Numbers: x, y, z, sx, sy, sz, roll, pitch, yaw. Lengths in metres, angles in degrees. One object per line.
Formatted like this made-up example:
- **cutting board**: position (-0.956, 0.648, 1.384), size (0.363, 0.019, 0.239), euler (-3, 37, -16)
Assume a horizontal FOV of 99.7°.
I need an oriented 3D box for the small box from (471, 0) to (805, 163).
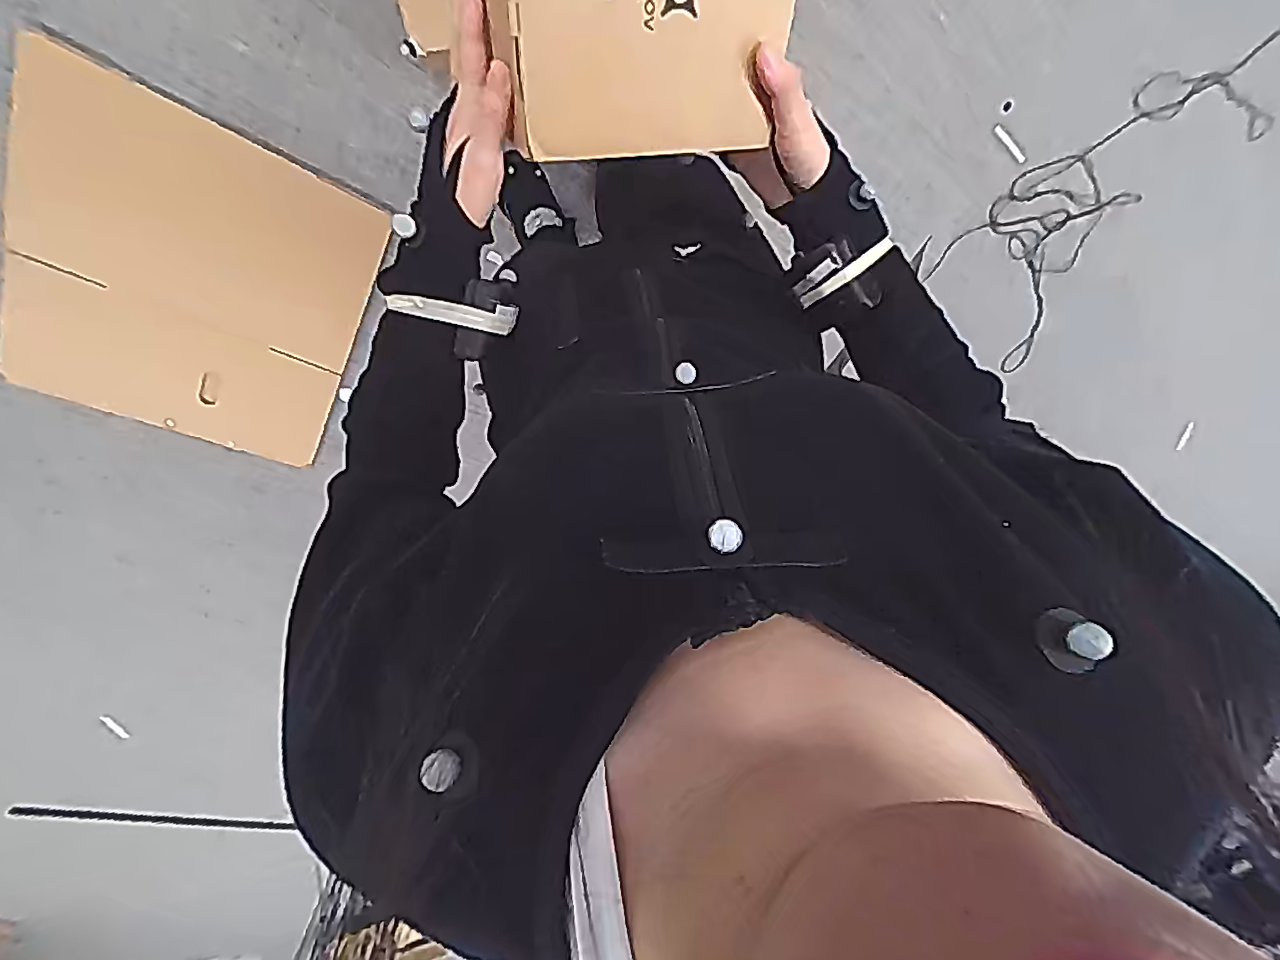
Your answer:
- **small box**: position (-0.009, -0.324, 0.352), size (0.179, 0.176, 0.168), euler (-14, 137, -18)
